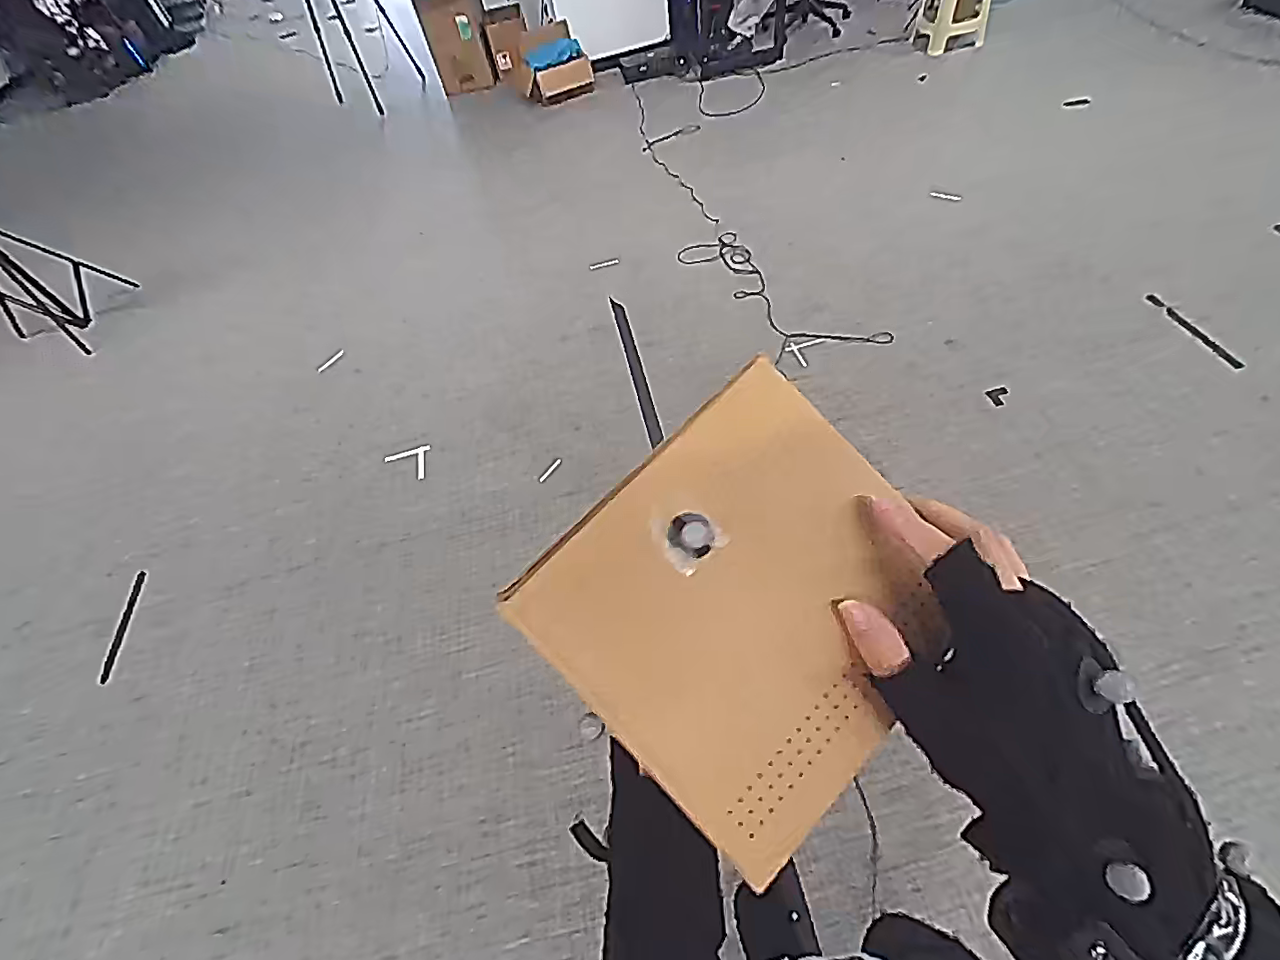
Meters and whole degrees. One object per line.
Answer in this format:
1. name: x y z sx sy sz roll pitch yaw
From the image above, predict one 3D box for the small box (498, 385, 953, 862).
1. small box: 0.044 0.079 0.338 0.179 0.168 0.176 -44 86 -11
